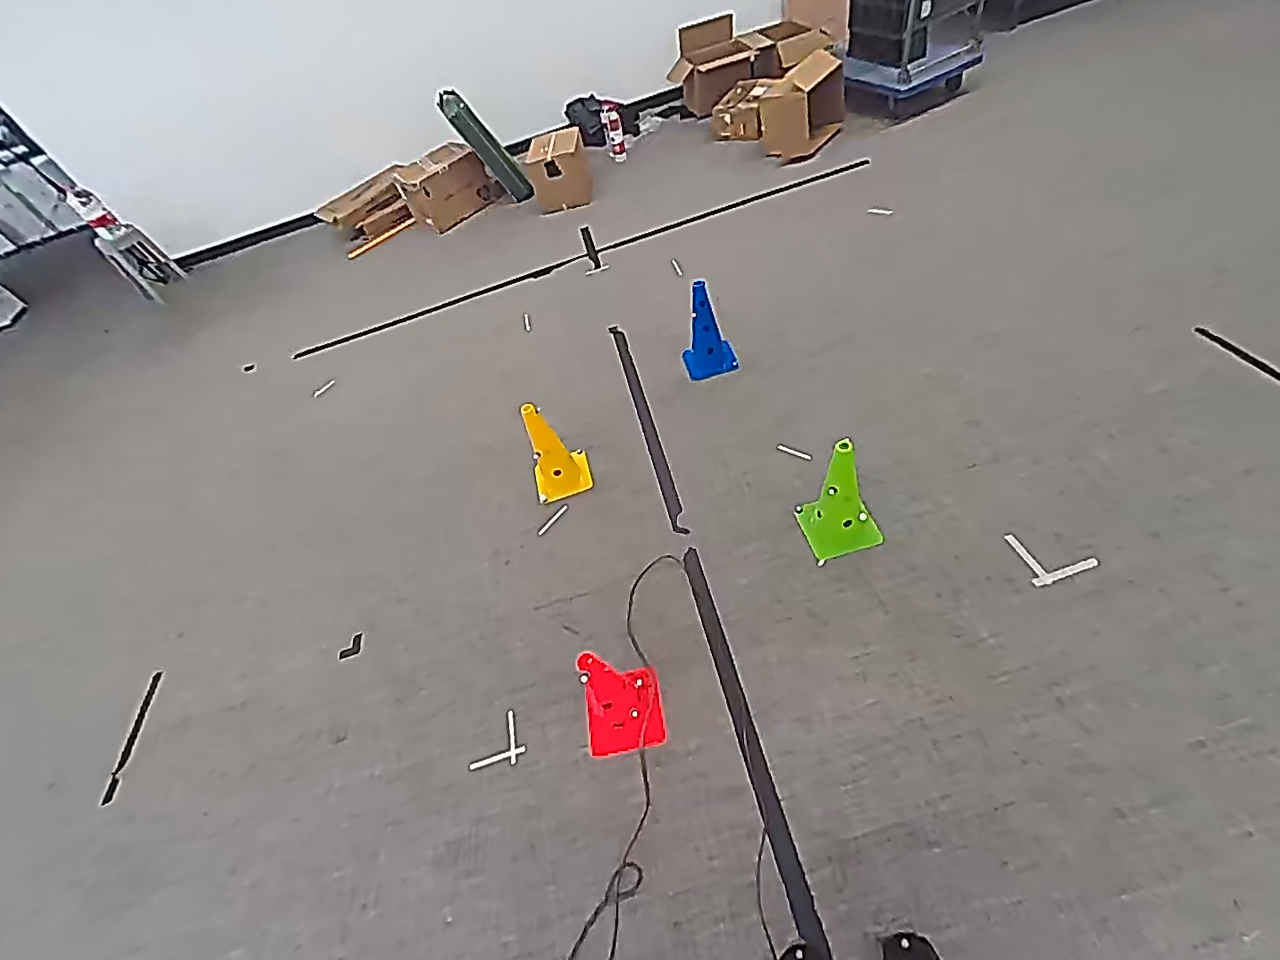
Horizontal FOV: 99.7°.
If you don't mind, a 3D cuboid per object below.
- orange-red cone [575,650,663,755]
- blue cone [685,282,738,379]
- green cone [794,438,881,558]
[{"bbox_3d":[-0.083,0.496,1.291,0.199,0.360,0.198,-15,48,6],"label":"orange-red cone"},{"bbox_3d":[0.256,-0.593,2.101,0.192,0.380,0.193,-14,49,4],"label":"blue cone"},{"bbox_3d":[0.551,0.025,1.487,0.202,0.368,0.200,-17,49,1],"label":"green cone"}]
